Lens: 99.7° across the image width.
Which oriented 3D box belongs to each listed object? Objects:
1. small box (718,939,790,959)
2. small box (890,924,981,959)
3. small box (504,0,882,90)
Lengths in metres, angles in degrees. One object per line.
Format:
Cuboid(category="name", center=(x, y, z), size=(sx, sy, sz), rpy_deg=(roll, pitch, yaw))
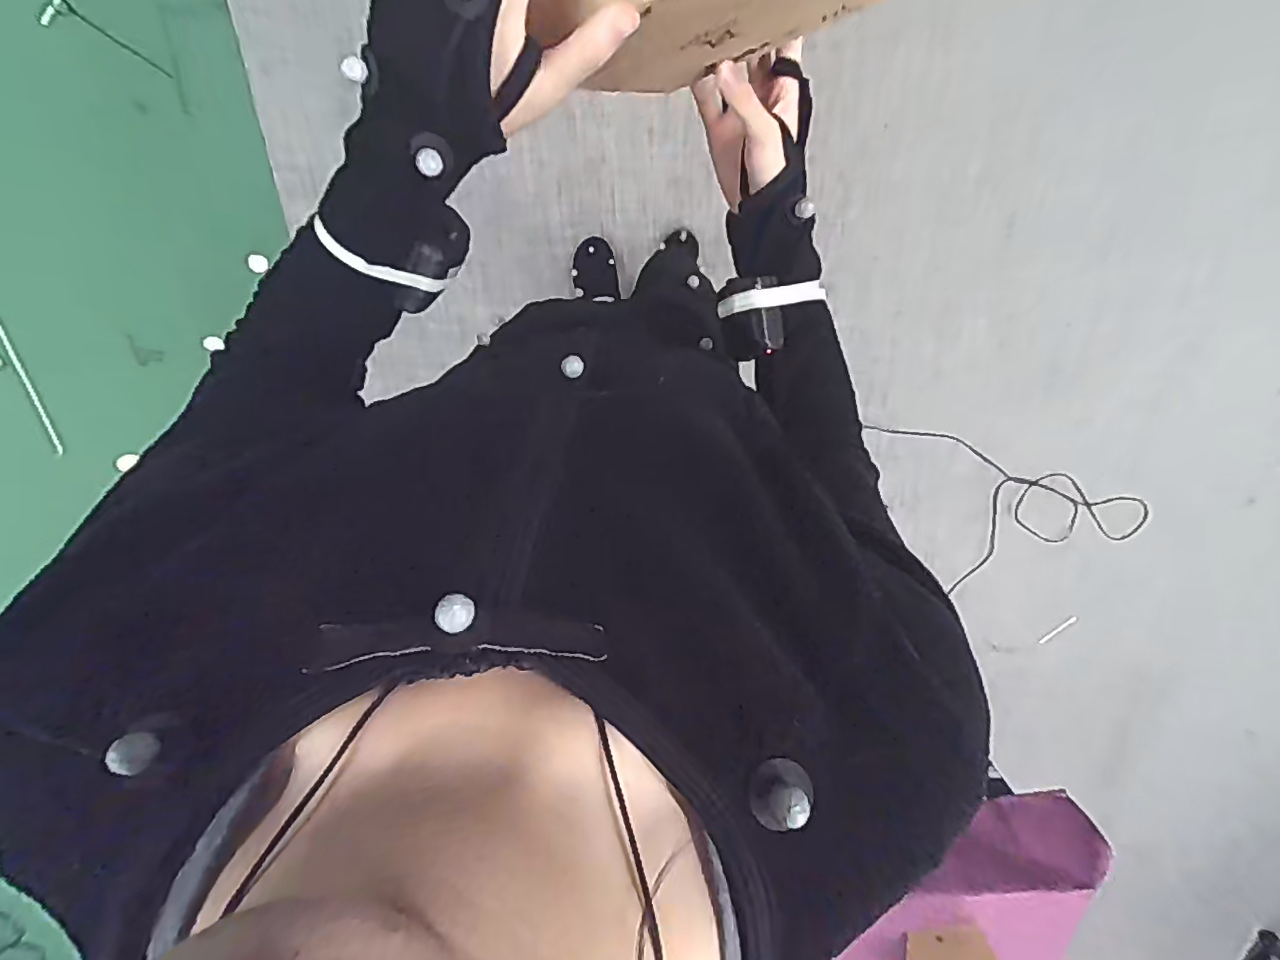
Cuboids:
Cuboid(category="small box", center=(0.281, 1.195, 1.231), size=(0.168, 0.176, 0.179), rpy_deg=(-13, 114, 4))
Cuboid(category="small box", center=(0.684, 1.143, 1.223), size=(0.168, 0.176, 0.179), rpy_deg=(-7, 115, 3))
Cuboid(category="small box", center=(0.023, -0.328, 0.270), size=(0.168, 0.179, 0.176), rpy_deg=(6, 120, 34))
